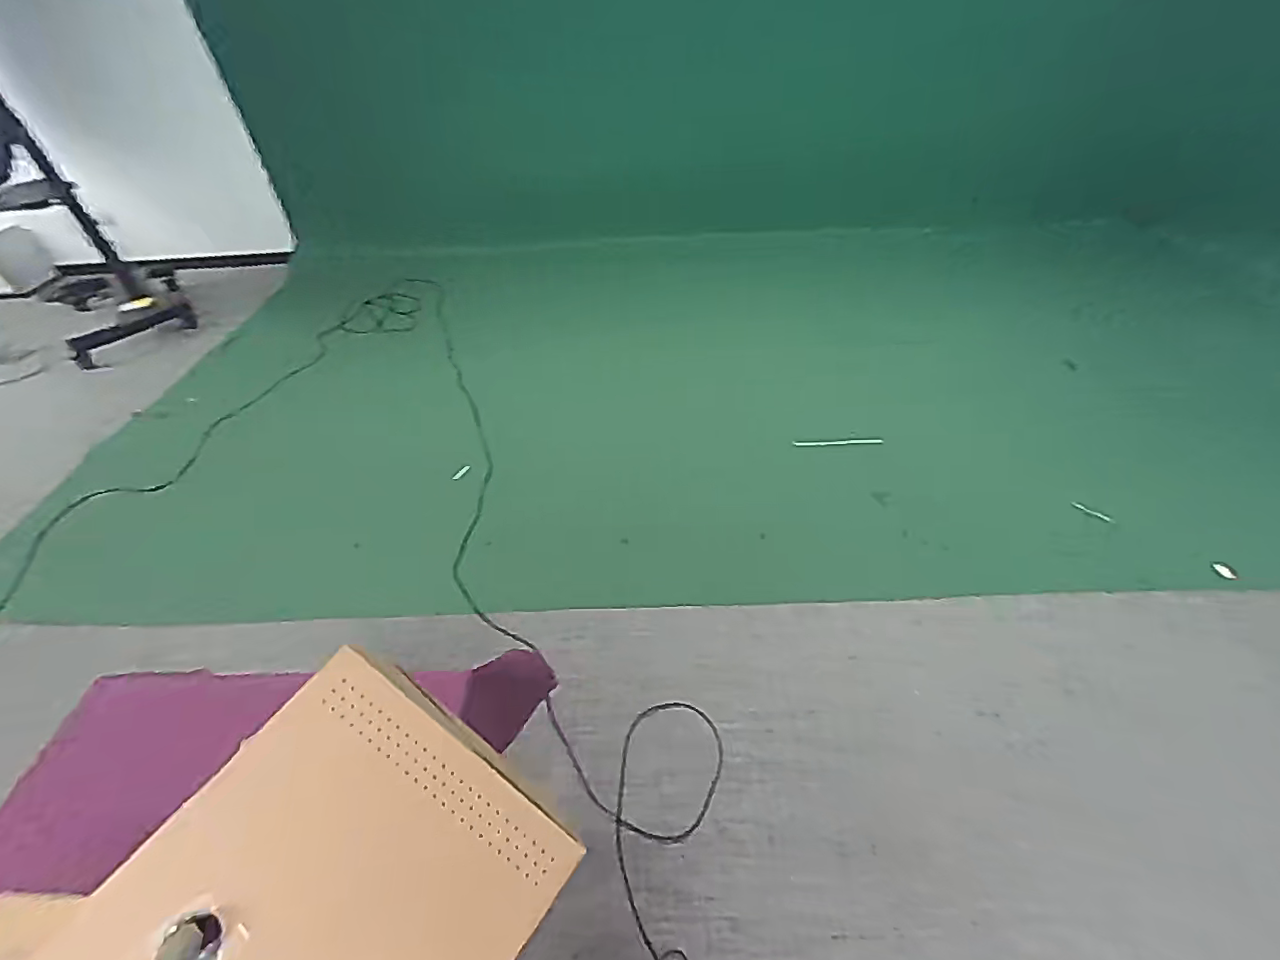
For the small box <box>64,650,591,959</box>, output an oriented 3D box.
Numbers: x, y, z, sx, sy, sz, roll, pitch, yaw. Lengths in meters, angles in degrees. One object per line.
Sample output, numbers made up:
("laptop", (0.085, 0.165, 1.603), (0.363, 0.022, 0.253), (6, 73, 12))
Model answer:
("small box", (-0.159, 0.223, 0.338), (0.179, 0.168, 0.176), (41, 66, 0))
